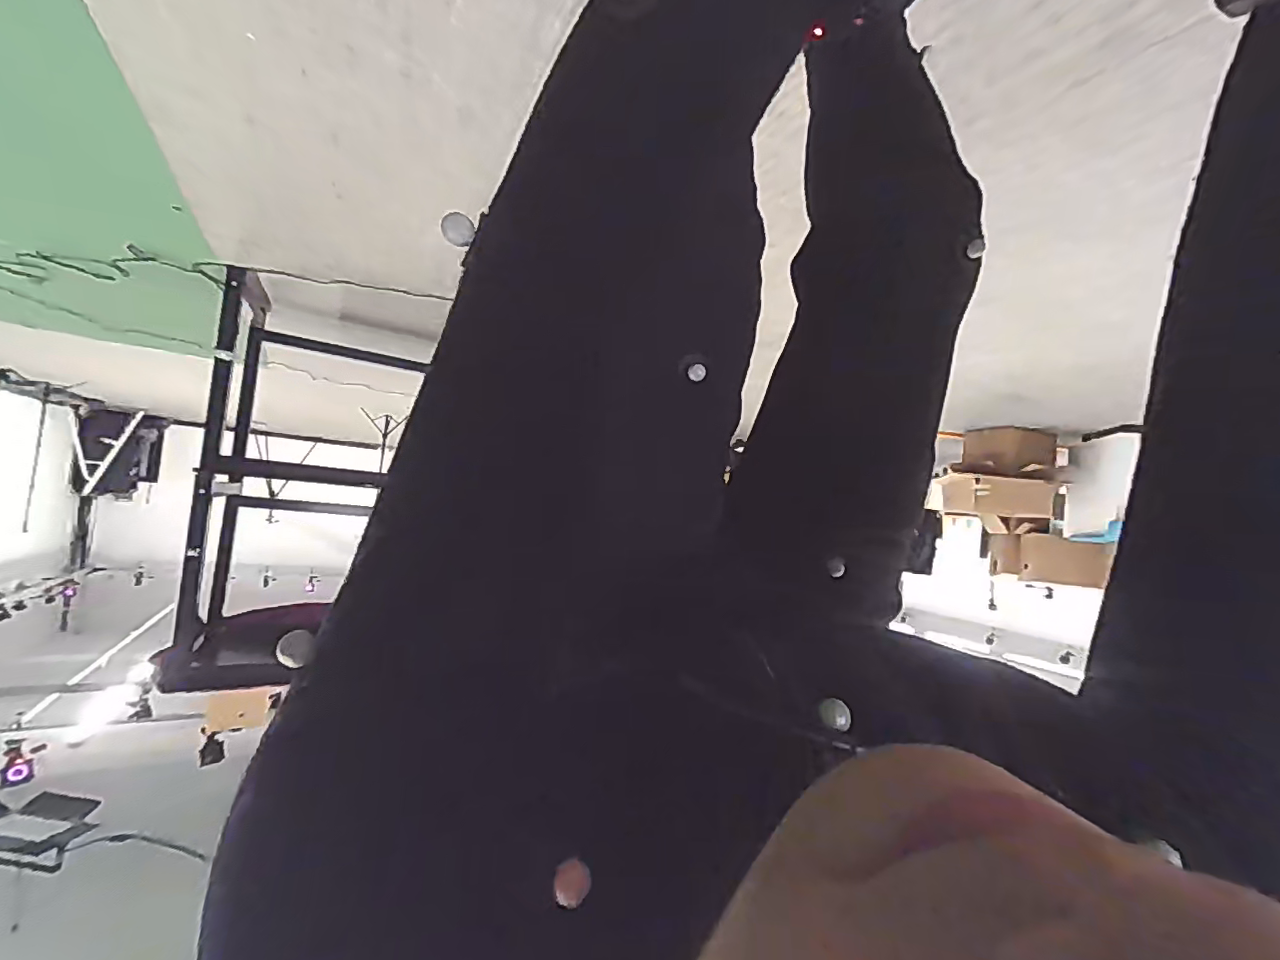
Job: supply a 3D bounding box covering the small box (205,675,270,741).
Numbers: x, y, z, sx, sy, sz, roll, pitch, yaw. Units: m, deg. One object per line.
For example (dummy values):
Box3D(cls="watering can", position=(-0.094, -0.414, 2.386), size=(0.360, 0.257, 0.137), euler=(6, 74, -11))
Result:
Box3D(cls="small box", position=(-1.461, 0.821, 1.971), size=(0.179, 0.176, 0.168), euler=(7, 175, -33))
